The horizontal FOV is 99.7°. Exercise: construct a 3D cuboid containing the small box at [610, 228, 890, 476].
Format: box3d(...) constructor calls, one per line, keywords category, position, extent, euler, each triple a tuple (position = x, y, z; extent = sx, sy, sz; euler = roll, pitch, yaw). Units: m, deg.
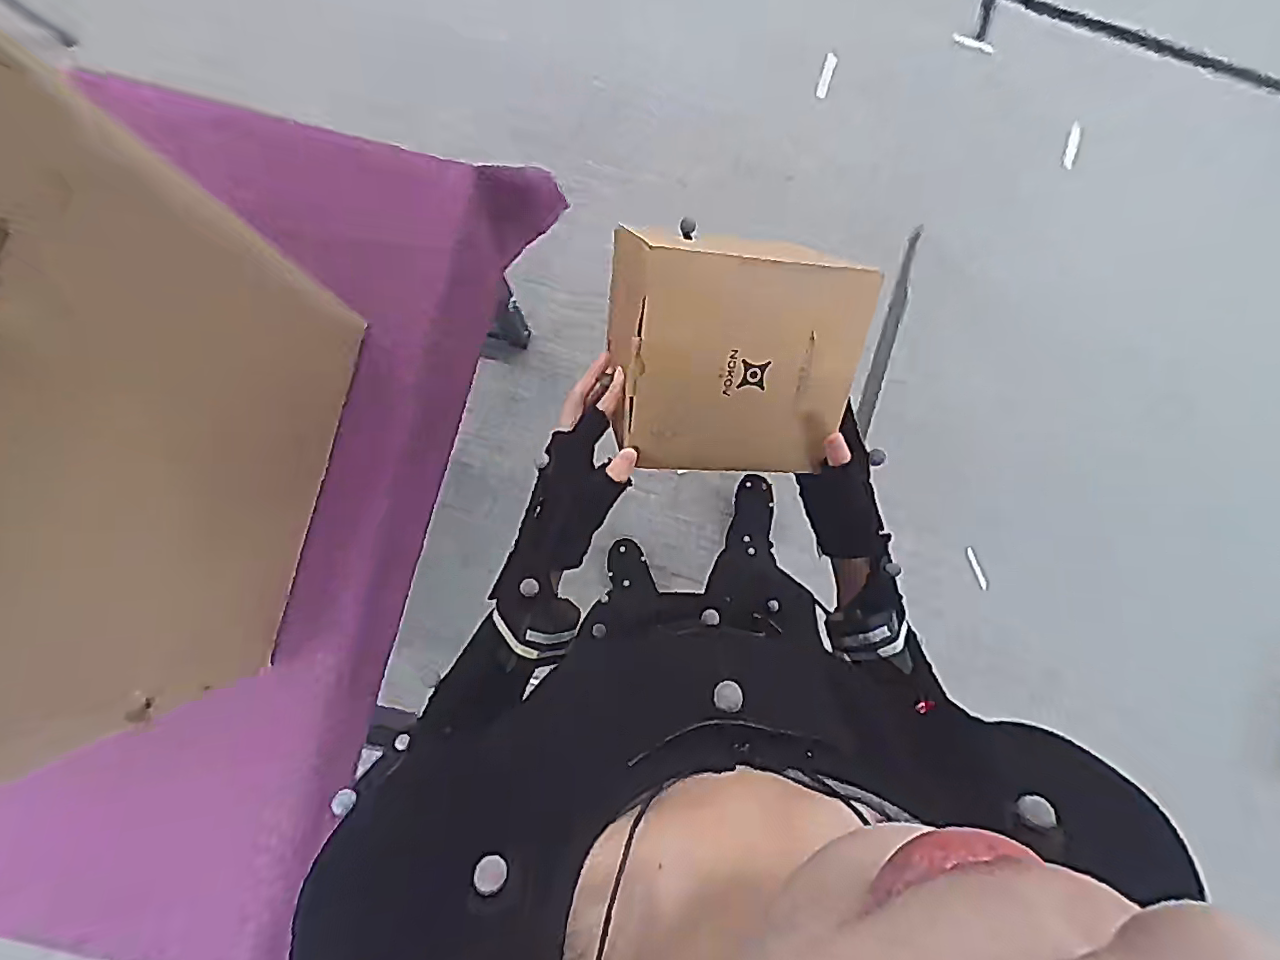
box3d(category="small box", position=(0.071, -0.117, 0.472), extent=(0.179, 0.176, 0.168), euler=(2, 120, -11))
